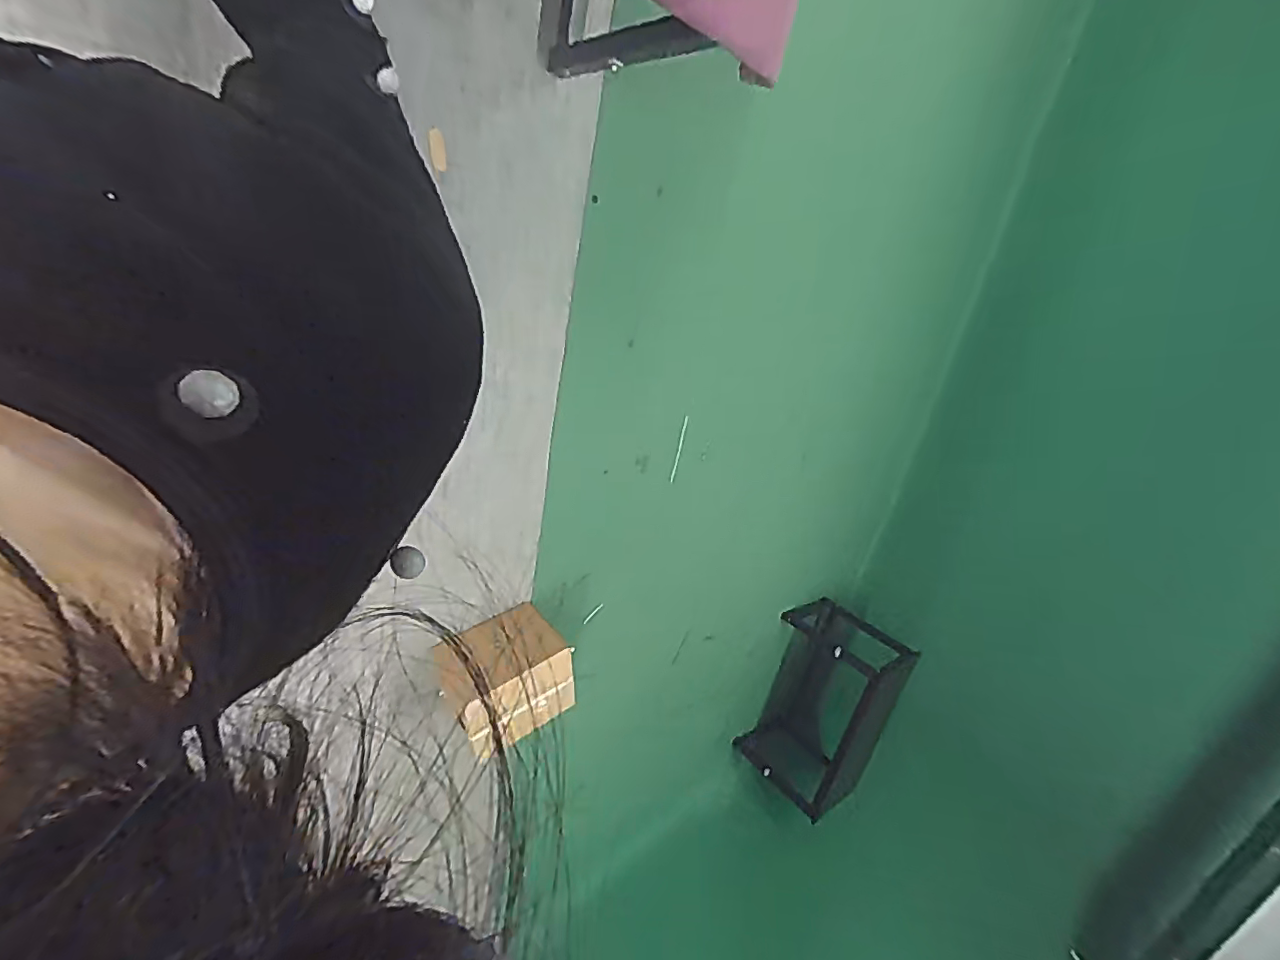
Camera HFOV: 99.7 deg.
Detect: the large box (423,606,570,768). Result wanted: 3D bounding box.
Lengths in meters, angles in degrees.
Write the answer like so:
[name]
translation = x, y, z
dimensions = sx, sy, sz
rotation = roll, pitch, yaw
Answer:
[large box]
translation = -0.516, 0.734, 1.973
dimensions = 0.408, 0.320, 0.320
rotation = -23, 128, -35
